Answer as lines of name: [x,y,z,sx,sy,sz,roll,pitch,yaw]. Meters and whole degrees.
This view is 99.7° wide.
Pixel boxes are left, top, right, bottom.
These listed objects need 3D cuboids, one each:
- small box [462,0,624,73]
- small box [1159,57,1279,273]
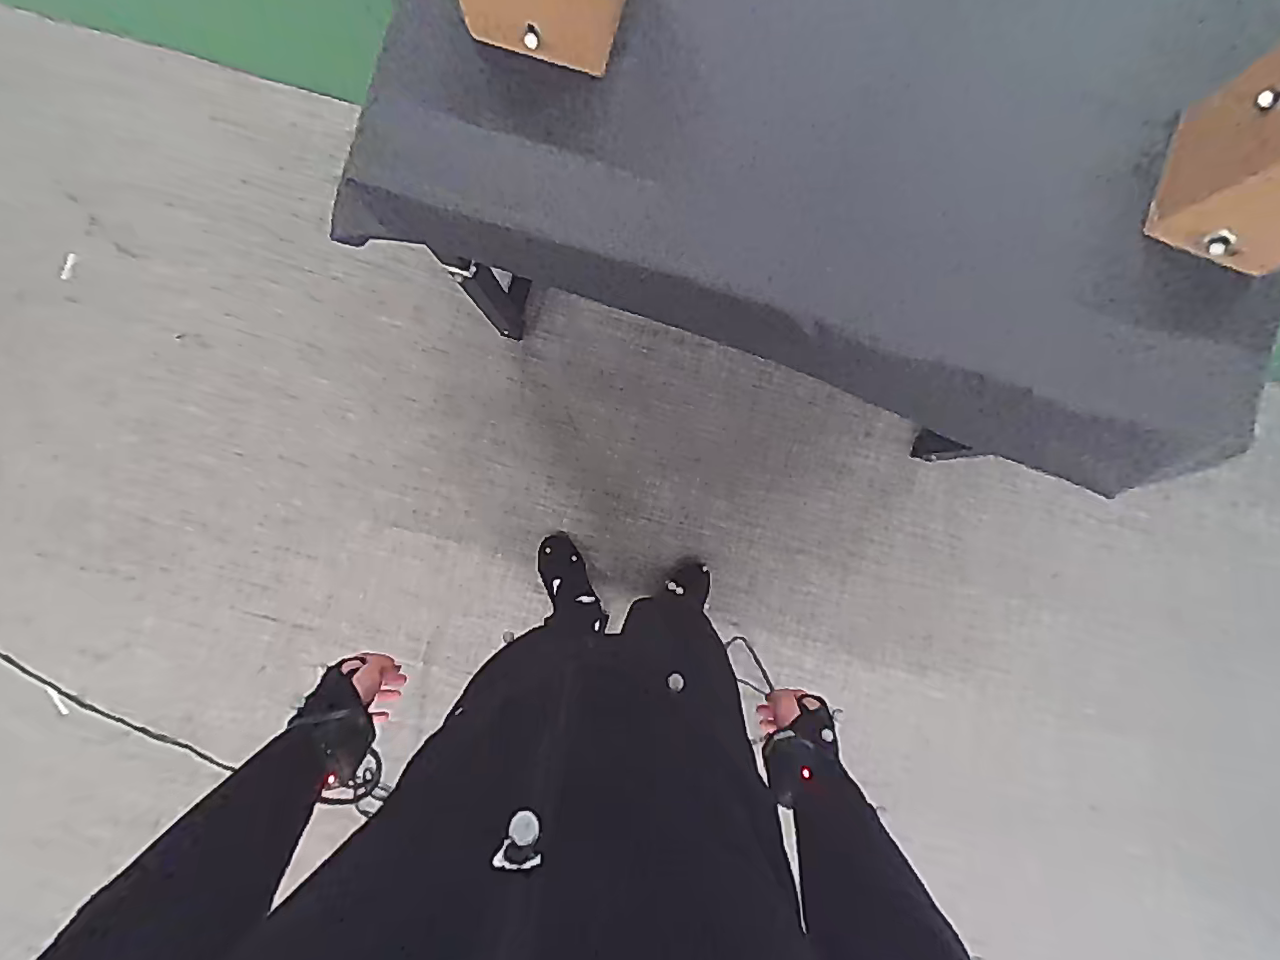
small box: [-0.103,-0.610,0.608,0.179,0.176,0.168,16,89,-2]
small box: [0.752,-0.368,0.605,0.168,0.176,0.179,22,89,2]
